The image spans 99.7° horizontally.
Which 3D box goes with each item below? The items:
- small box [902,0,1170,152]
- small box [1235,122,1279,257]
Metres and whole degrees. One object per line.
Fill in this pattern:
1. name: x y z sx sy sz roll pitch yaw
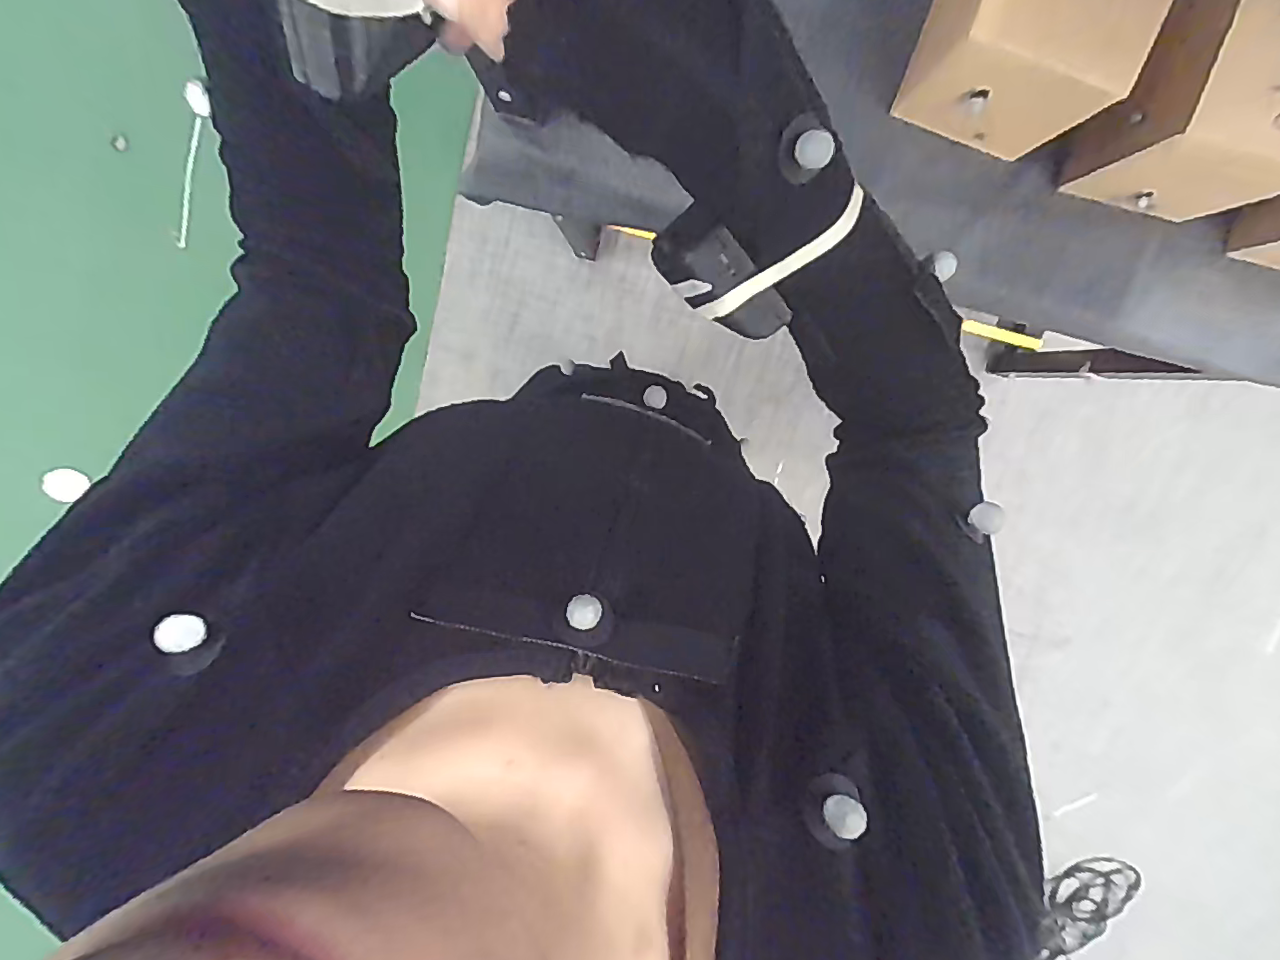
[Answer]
1. small box: 0.408 -0.483 0.566 0.168 0.176 0.179 18 101 -3
2. small box: 0.831 -0.337 0.588 0.168 0.176 0.179 13 101 -3
